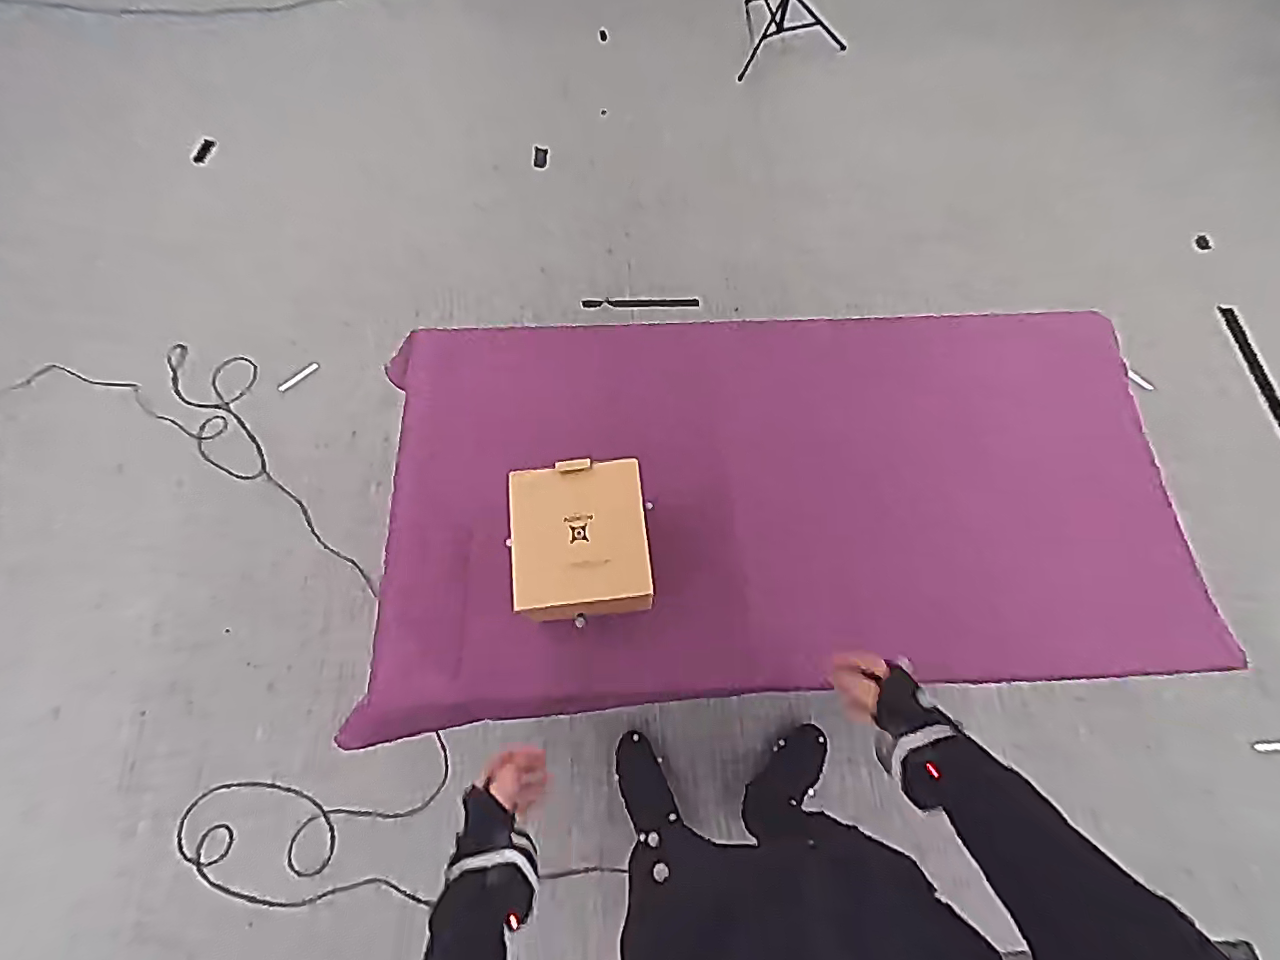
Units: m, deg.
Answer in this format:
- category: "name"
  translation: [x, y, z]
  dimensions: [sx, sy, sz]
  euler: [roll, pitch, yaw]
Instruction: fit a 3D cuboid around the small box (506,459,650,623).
- category: "small box"
  translation: [-0.079, 0.088, 0.723]
  dimensions: [0.168, 0.176, 0.179]
  euler: [-6, 71, -2]
